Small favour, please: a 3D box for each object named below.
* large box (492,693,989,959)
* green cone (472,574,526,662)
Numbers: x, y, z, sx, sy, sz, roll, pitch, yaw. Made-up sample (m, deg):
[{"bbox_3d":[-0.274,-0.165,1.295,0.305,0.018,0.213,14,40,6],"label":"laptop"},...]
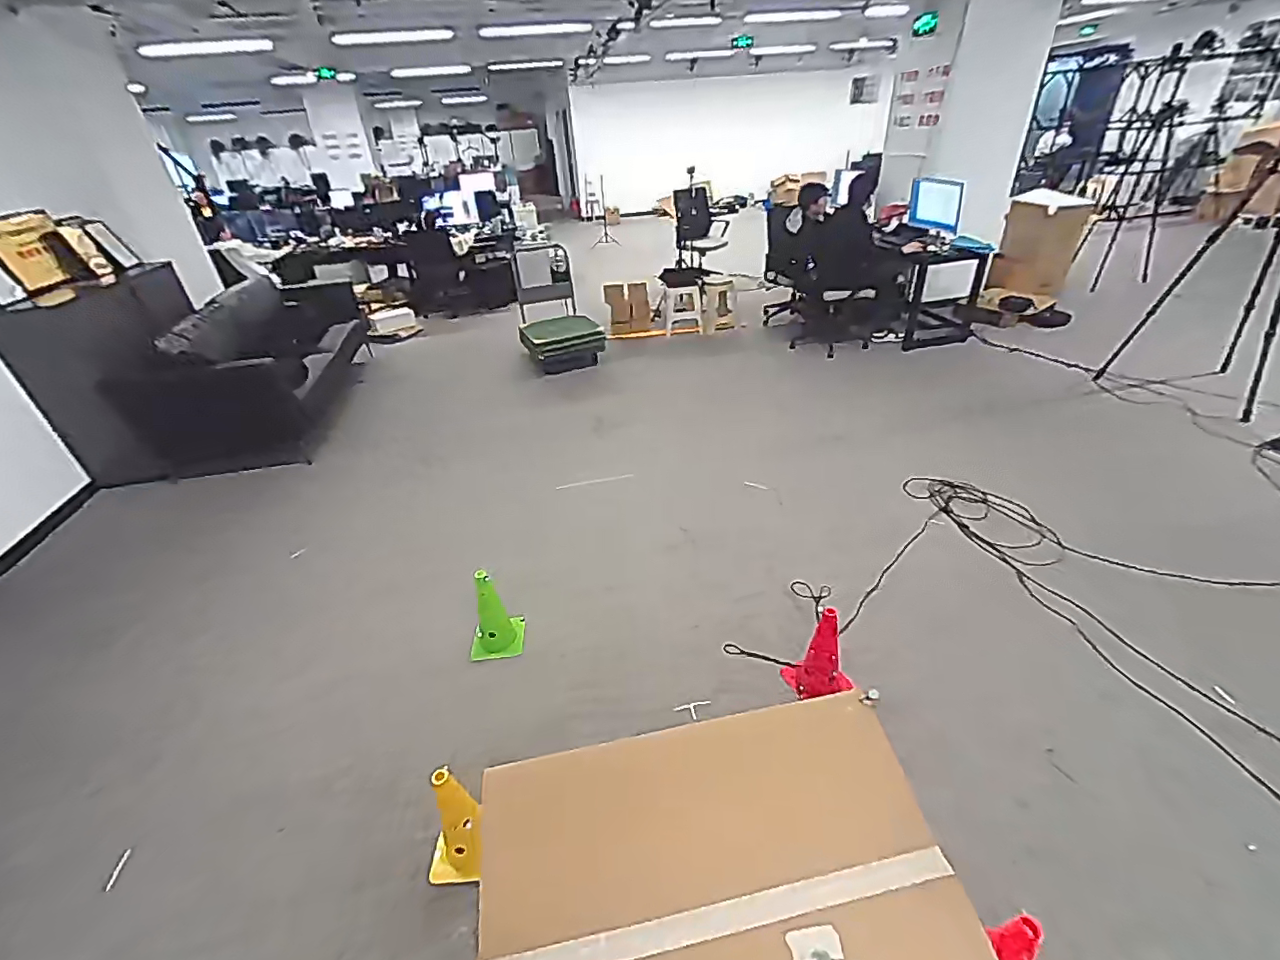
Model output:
[{"bbox_3d":[0.078,0.474,0.568,0.408,0.320,0.320,-9,47,-6],"label":"large box"},{"bbox_3d":[-0.580,0.503,2.085,0.200,0.368,0.202,-7,34,-2],"label":"green cone"}]
